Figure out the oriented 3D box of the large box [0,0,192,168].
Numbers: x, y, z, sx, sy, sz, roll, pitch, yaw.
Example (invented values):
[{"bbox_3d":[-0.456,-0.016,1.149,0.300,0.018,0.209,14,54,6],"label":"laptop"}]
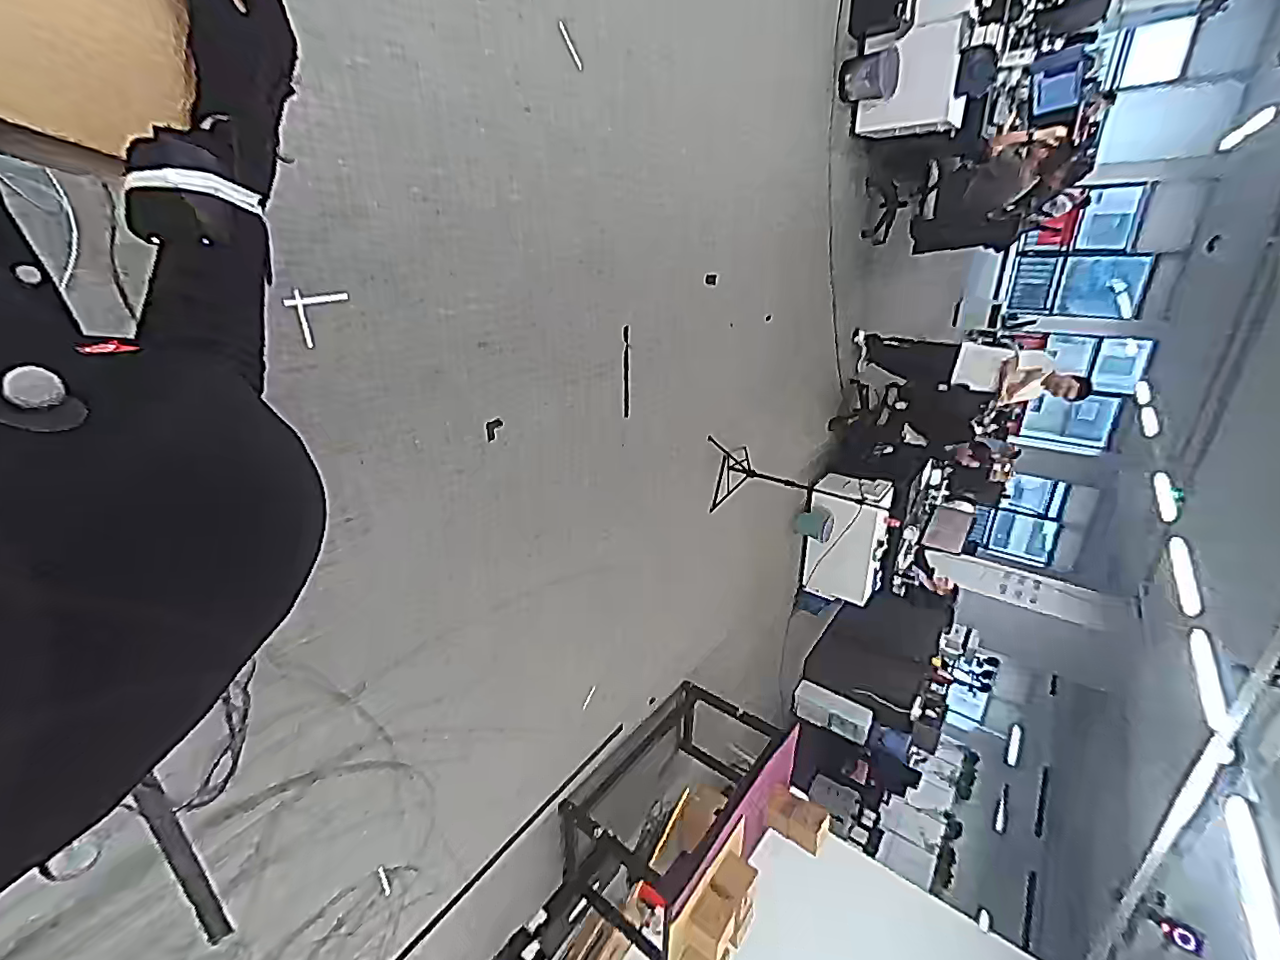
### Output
[{"bbox_3d":[-0.550,-0.414,0.295,0.408,0.320,0.320,-6,113,-58],"label":"large box"}]
